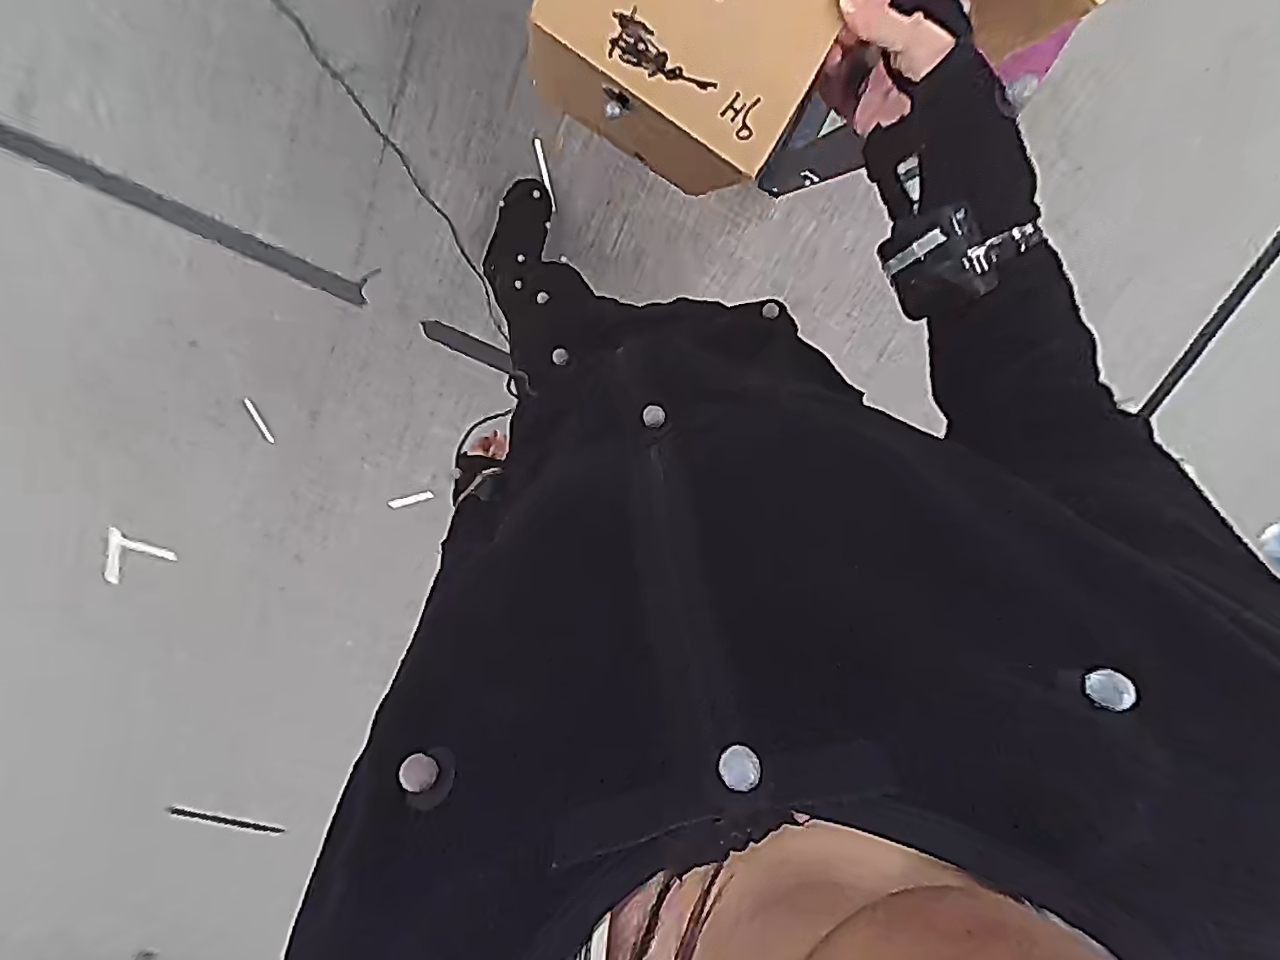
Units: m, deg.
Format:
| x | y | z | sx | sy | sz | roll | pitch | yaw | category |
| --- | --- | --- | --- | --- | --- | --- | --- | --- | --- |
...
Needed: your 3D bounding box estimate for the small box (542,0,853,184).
| x | y | z | sx | sy | sz | roll | pitch | yaw | category |
| --- | --- | --- | --- | --- | --- | --- | --- | --- | --- |
| 0.038 | -0.341 | 0.378 | 0.168 | 0.176 | 0.179 | 26 | 107 | -19 | small box |
